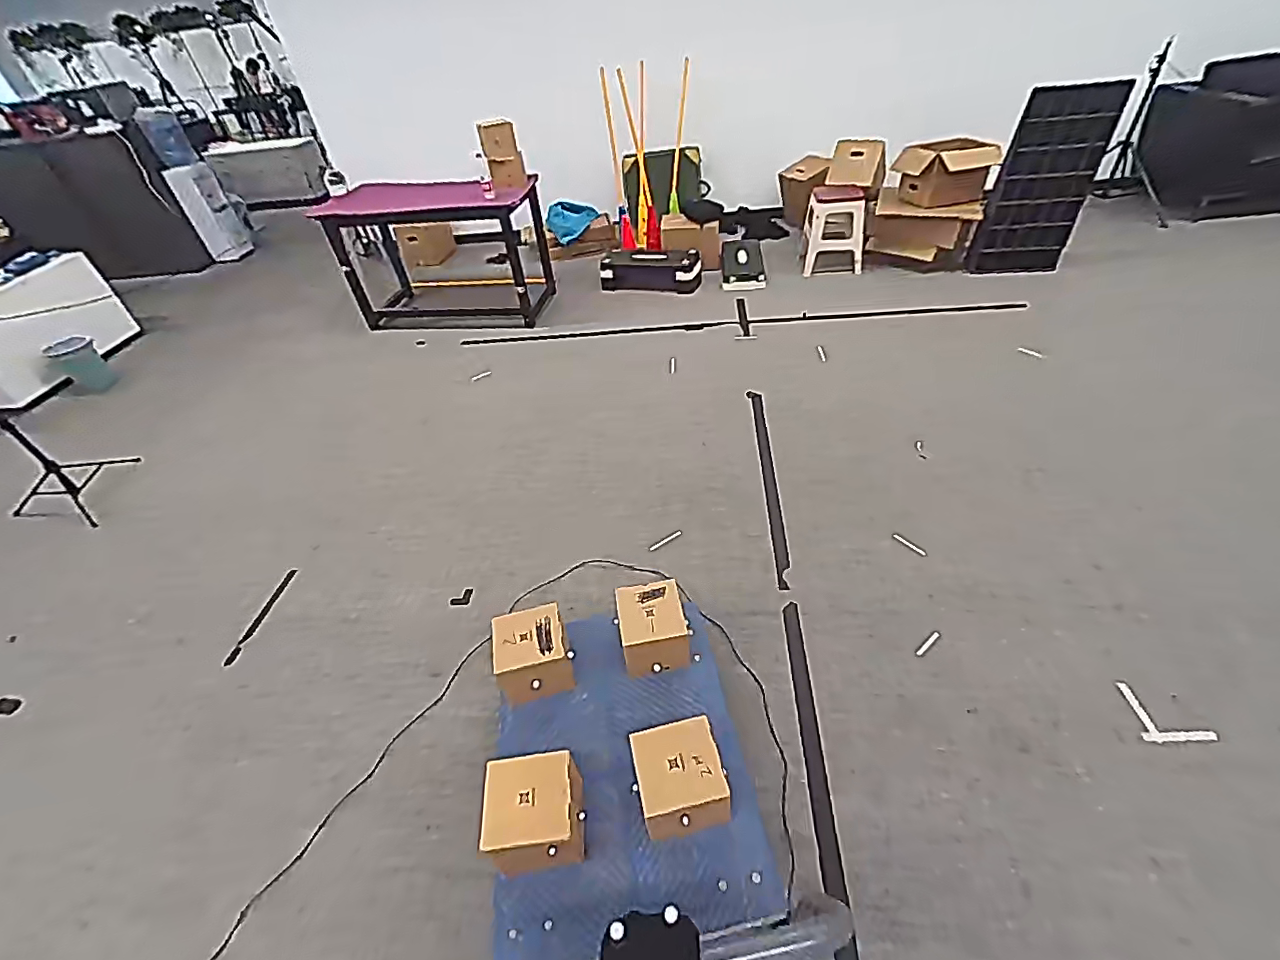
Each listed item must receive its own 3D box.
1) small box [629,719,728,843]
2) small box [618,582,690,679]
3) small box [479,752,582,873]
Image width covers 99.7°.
[{"bbox_3d":[0.083,0.644,1.152,0.179,0.176,0.168,-11,42,-5],"label":"small box"},{"bbox_3d":[0.037,0.398,1.432,0.168,0.176,0.179,-9,43,-2],"label":"small box"},{"bbox_3d":[-0.221,0.698,1.132,0.179,0.176,0.168,-7,41,-2],"label":"small box"}]
